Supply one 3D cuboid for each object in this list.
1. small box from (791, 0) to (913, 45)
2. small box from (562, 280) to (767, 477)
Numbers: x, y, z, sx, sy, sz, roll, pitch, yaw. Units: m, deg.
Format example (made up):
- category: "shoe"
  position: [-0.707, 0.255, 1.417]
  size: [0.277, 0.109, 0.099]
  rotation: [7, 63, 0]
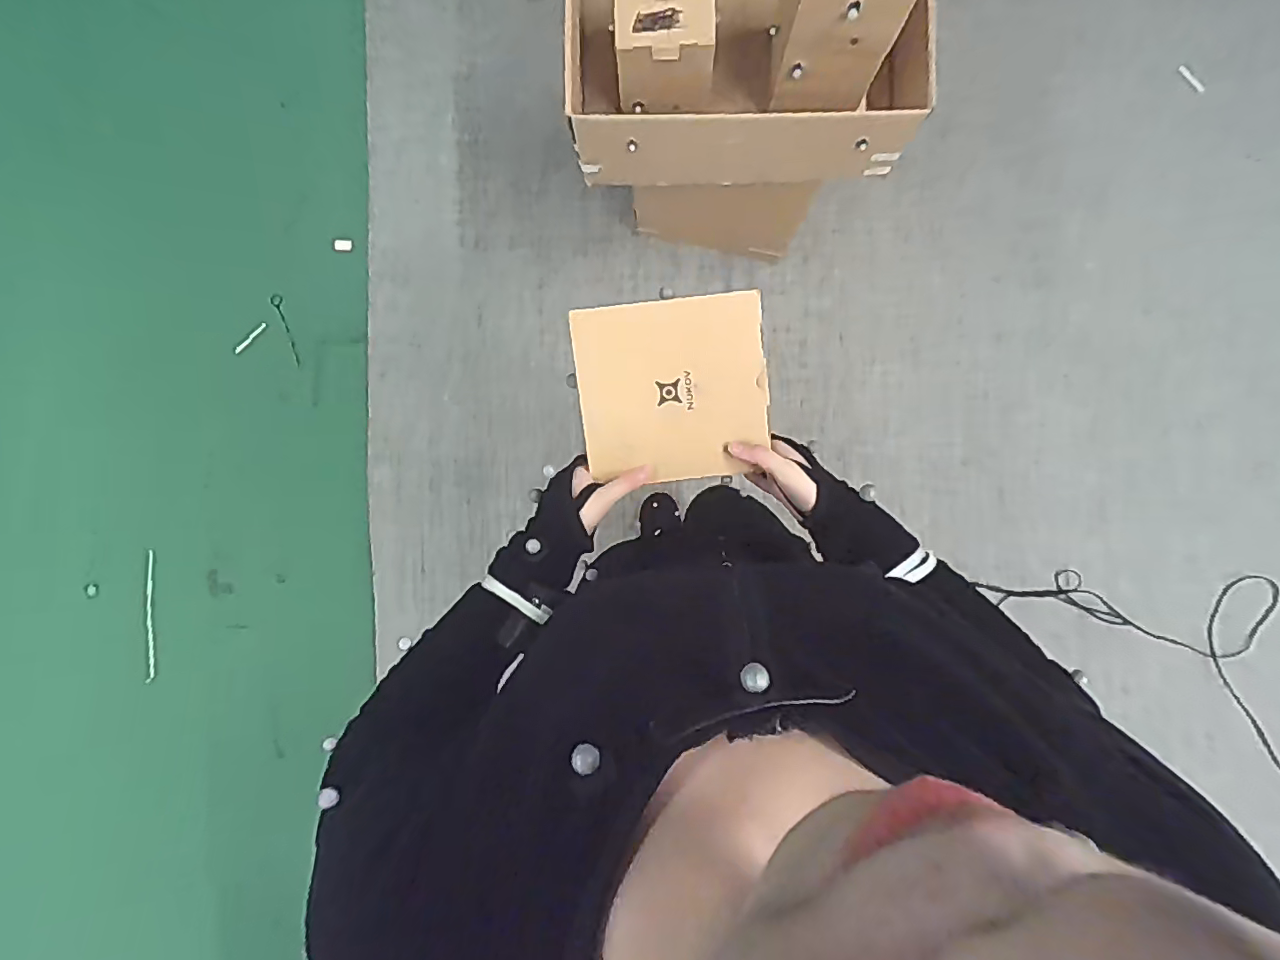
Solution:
- category: "small box"
  position: [0.323, -0.776, 0.778]
  size: [0.168, 0.176, 0.179]
  rotation: [6, 91, 2]
- category: "small box"
  position: [0.023, -0.102, 0.574]
  size: [0.179, 0.176, 0.168]
  rotation: [-7, 99, -1]
